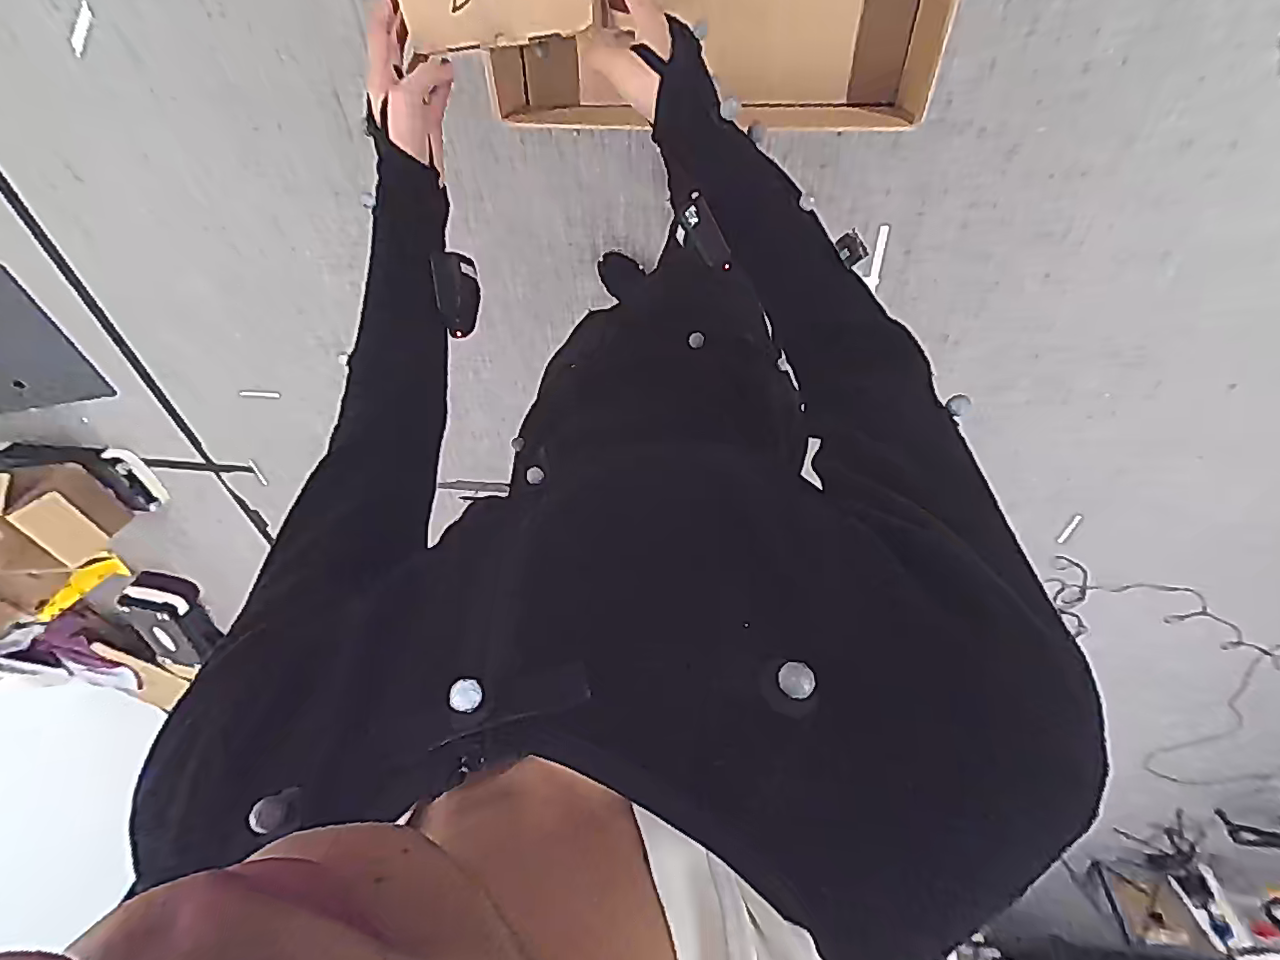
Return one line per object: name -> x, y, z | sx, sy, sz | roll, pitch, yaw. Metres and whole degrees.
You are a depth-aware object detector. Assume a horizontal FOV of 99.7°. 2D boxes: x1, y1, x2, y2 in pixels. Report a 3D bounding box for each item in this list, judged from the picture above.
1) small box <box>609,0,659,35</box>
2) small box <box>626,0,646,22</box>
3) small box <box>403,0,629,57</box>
small box -> -0.065, -0.696, 0.705 | 0.168, 0.176, 0.179 | 4, 132, 8
small box -> -0.086, -0.597, 0.575 | 0.168, 0.176, 0.179 | 4, 132, 8
small box -> -0.108, -0.483, 0.459 | 0.168, 0.176, 0.179 | 1, 132, 11
